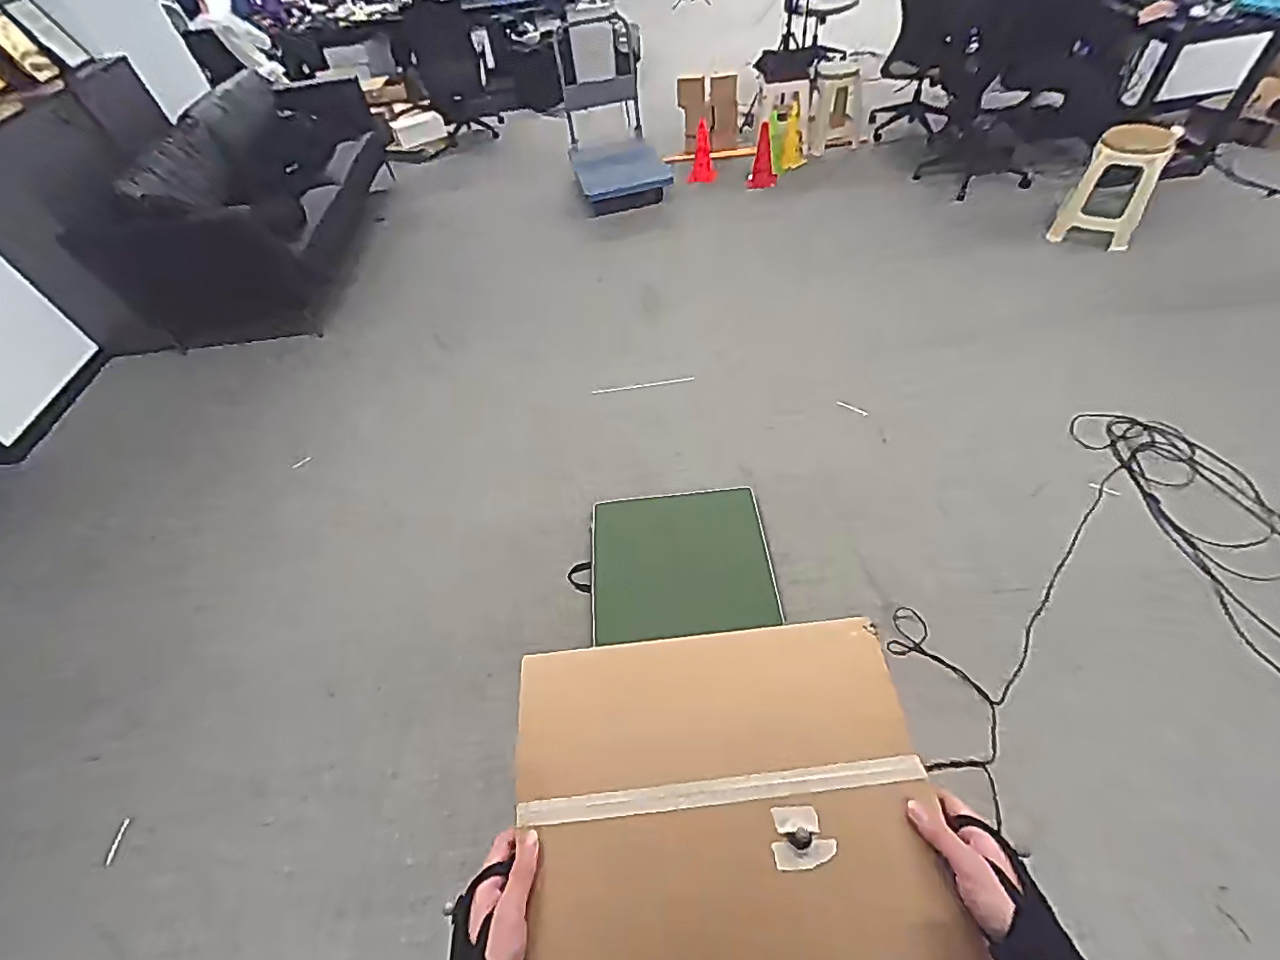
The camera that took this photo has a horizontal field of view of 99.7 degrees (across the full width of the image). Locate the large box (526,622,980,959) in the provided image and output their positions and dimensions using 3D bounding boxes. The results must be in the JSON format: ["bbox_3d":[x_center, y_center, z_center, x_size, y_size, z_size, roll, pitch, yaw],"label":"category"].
[{"bbox_3d":[0.089,0.402,0.666,0.408,0.320,0.320,-7,55,-1],"label":"large box"}]
